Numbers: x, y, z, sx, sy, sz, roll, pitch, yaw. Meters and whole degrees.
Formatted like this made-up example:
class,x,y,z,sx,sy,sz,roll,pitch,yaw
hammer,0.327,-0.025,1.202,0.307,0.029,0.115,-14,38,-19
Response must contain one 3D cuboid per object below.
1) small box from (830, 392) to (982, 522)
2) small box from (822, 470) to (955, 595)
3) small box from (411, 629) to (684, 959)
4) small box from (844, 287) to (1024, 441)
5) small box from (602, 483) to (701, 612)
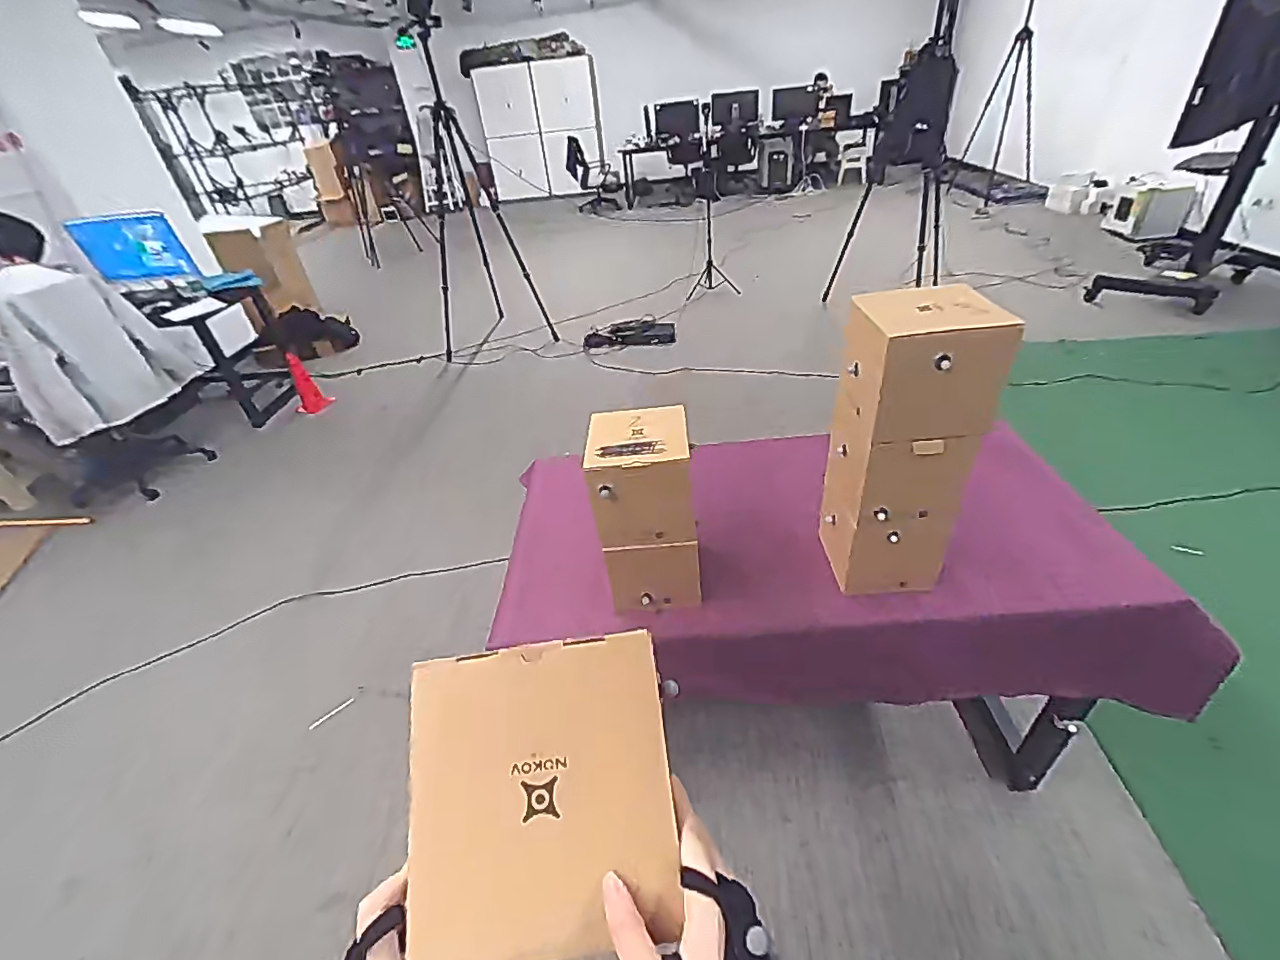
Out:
class,x,y,z,sx,sy,sz,roll,pitch,yaw
small box,0.428,-0.041,0.904,0.168,0.176,0.179,-5,36,3
small box,0.444,0.090,1.001,0.168,0.176,0.179,-6,36,4
small box,-0.061,0.220,0.419,0.168,0.176,0.179,-8,69,-2
small box,0.413,-0.169,0.802,0.179,0.176,0.168,-4,38,4
small box,0.026,0.127,1.026,0.168,0.176,0.179,-5,37,5
